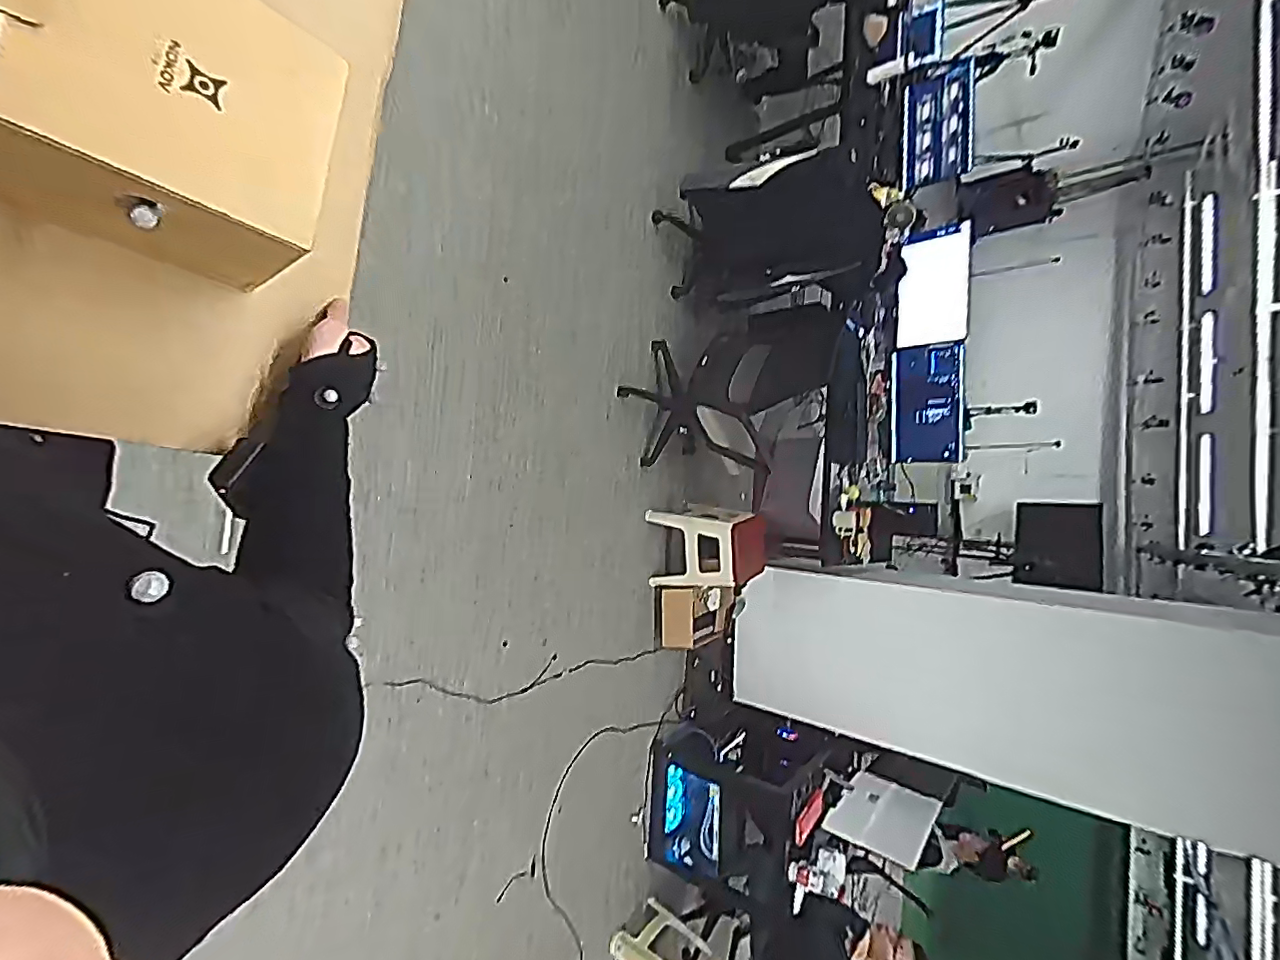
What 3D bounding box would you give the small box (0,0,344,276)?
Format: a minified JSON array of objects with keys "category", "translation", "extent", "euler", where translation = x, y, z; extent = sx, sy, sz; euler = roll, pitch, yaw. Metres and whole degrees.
[{"category":"small box","translation":[-0.375,-0.283,0.435],"extent":[0.179,0.176,0.168],"euler":[13,83,-48]}]
